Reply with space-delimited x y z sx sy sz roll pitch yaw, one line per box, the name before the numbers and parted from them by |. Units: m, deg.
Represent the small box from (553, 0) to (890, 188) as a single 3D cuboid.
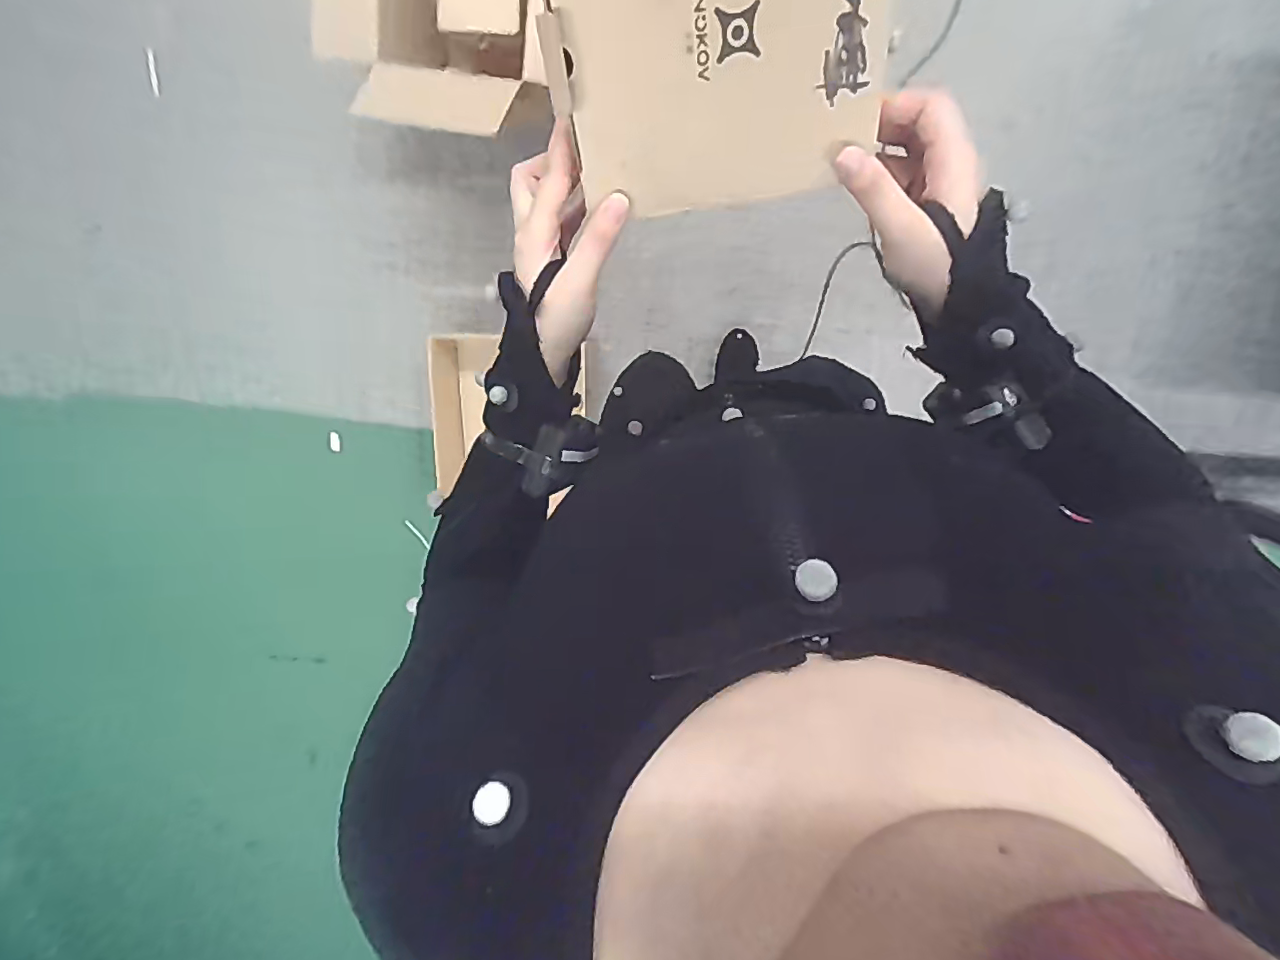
small box | 0.045 -0.301 0.339 0.179 0.176 0.168 -5 131 7
